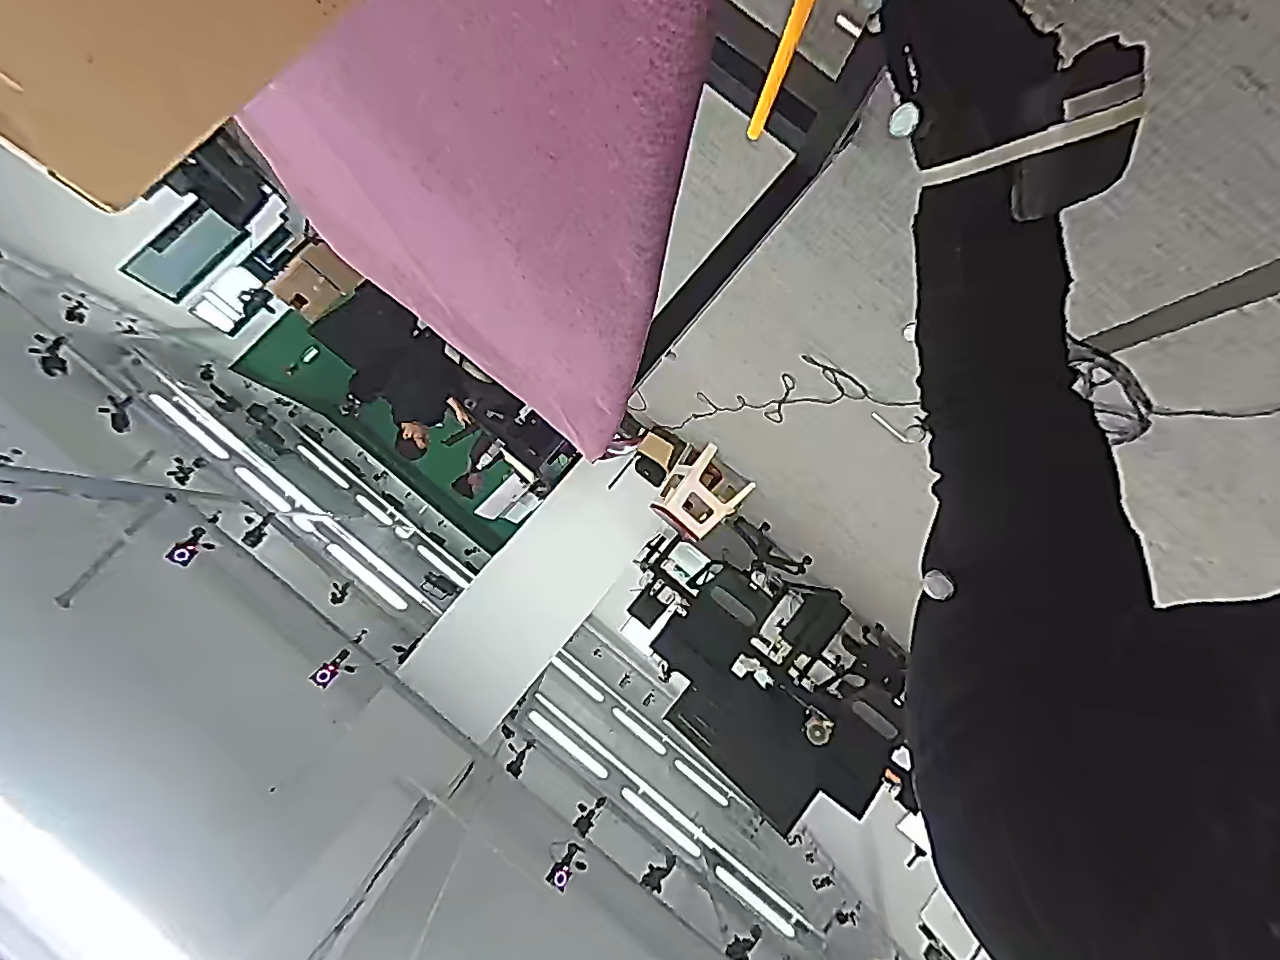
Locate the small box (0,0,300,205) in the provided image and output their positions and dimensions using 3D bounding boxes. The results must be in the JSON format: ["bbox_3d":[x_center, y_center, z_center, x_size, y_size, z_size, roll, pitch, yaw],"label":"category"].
[{"bbox_3d":[-0.249,-0.248,0.178,0.179,0.176,0.168,40,173,-2],"label":"small box"}]
